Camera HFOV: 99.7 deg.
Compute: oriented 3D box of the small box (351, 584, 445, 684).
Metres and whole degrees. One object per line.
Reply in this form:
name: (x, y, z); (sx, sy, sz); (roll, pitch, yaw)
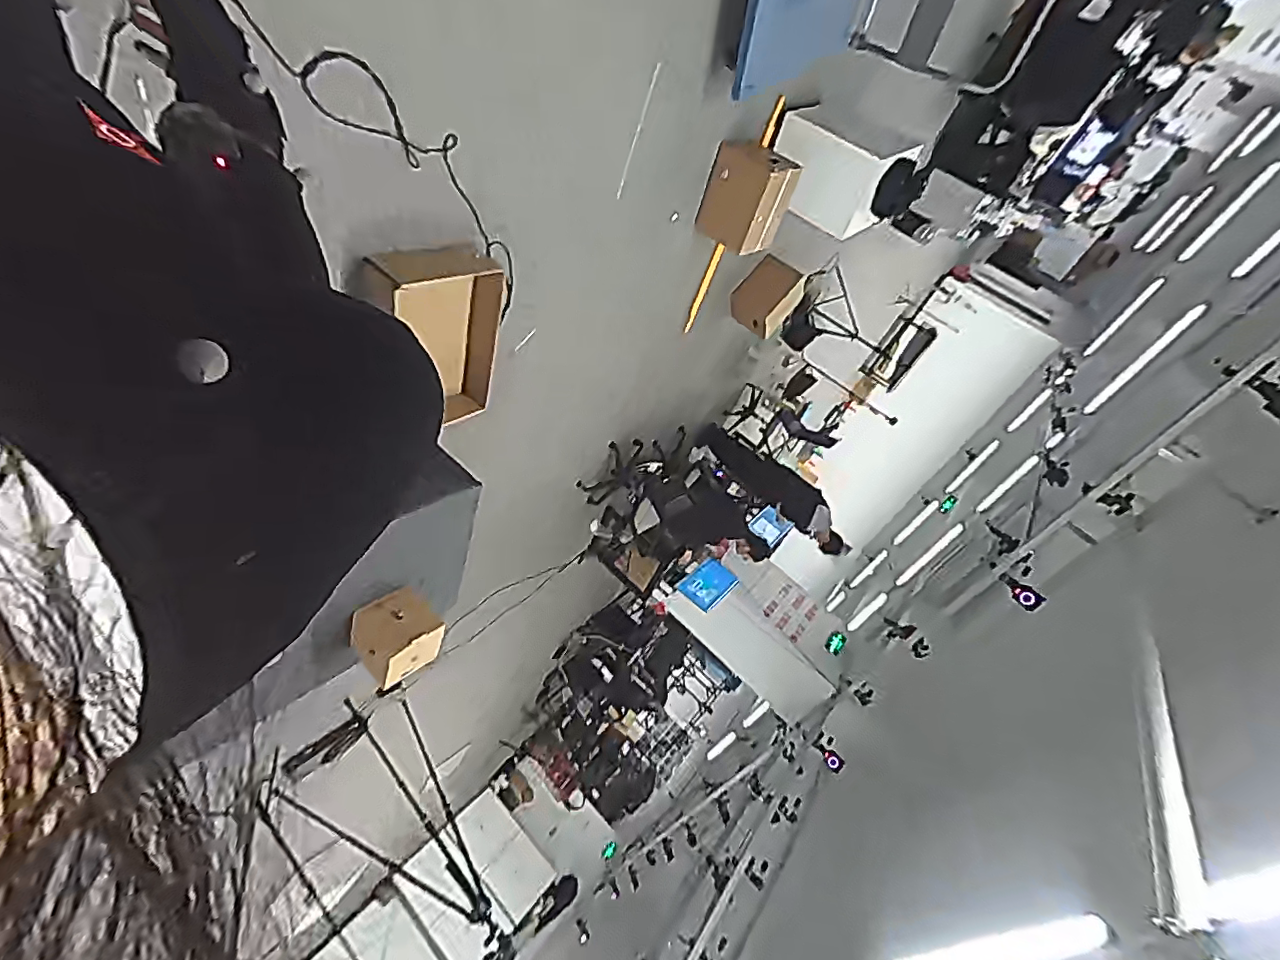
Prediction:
small box: (-0.666, 0.410, 1.480); (0.168, 0.176, 0.179); (-27, 151, -48)
